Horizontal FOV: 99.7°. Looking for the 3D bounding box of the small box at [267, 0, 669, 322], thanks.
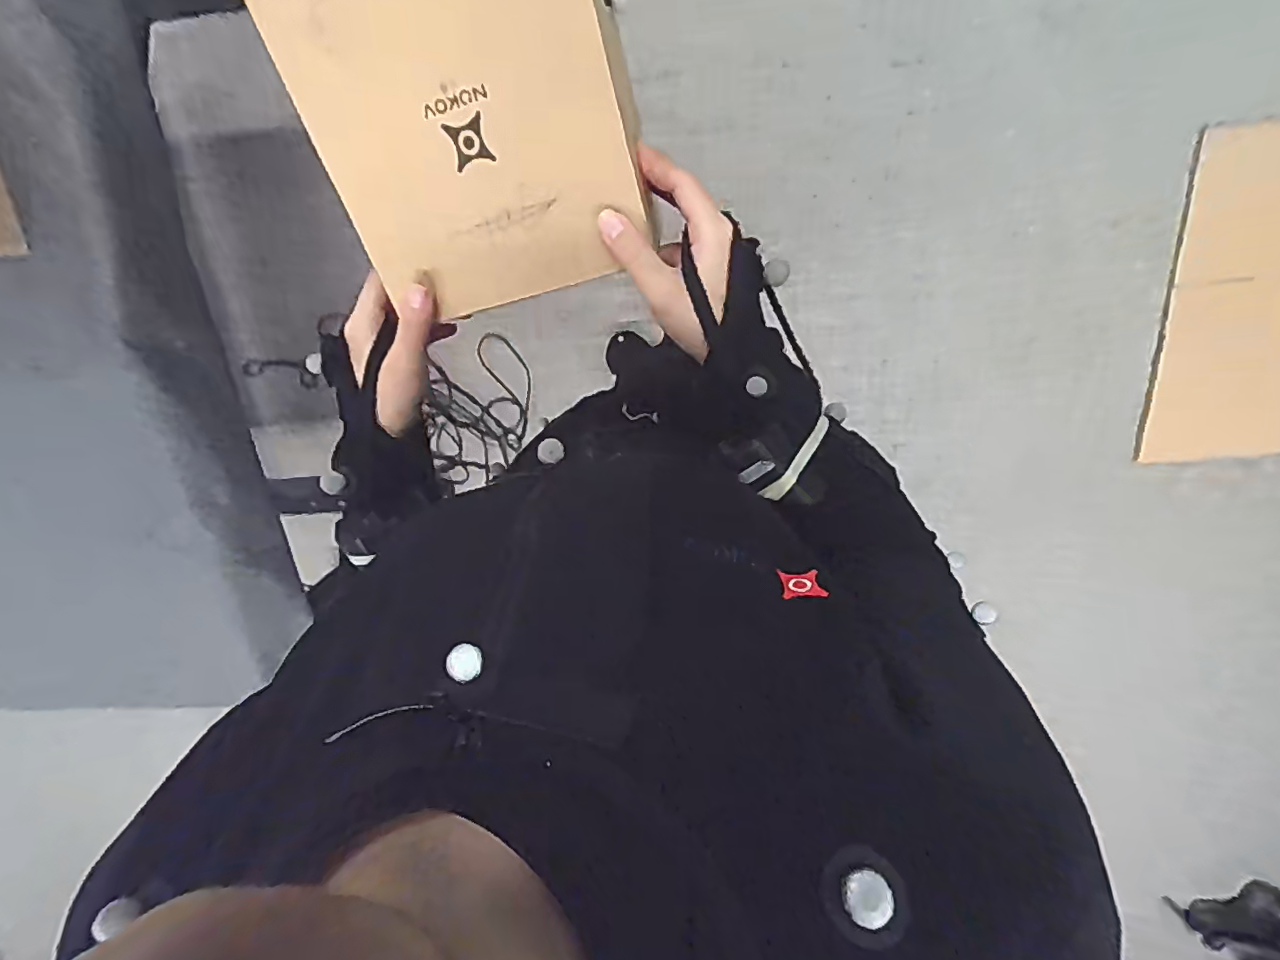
[{"bbox_3d":[-0.079,-0.225,0.350,0.168,0.176,0.179,-10,121,11],"label":"small box"}]
